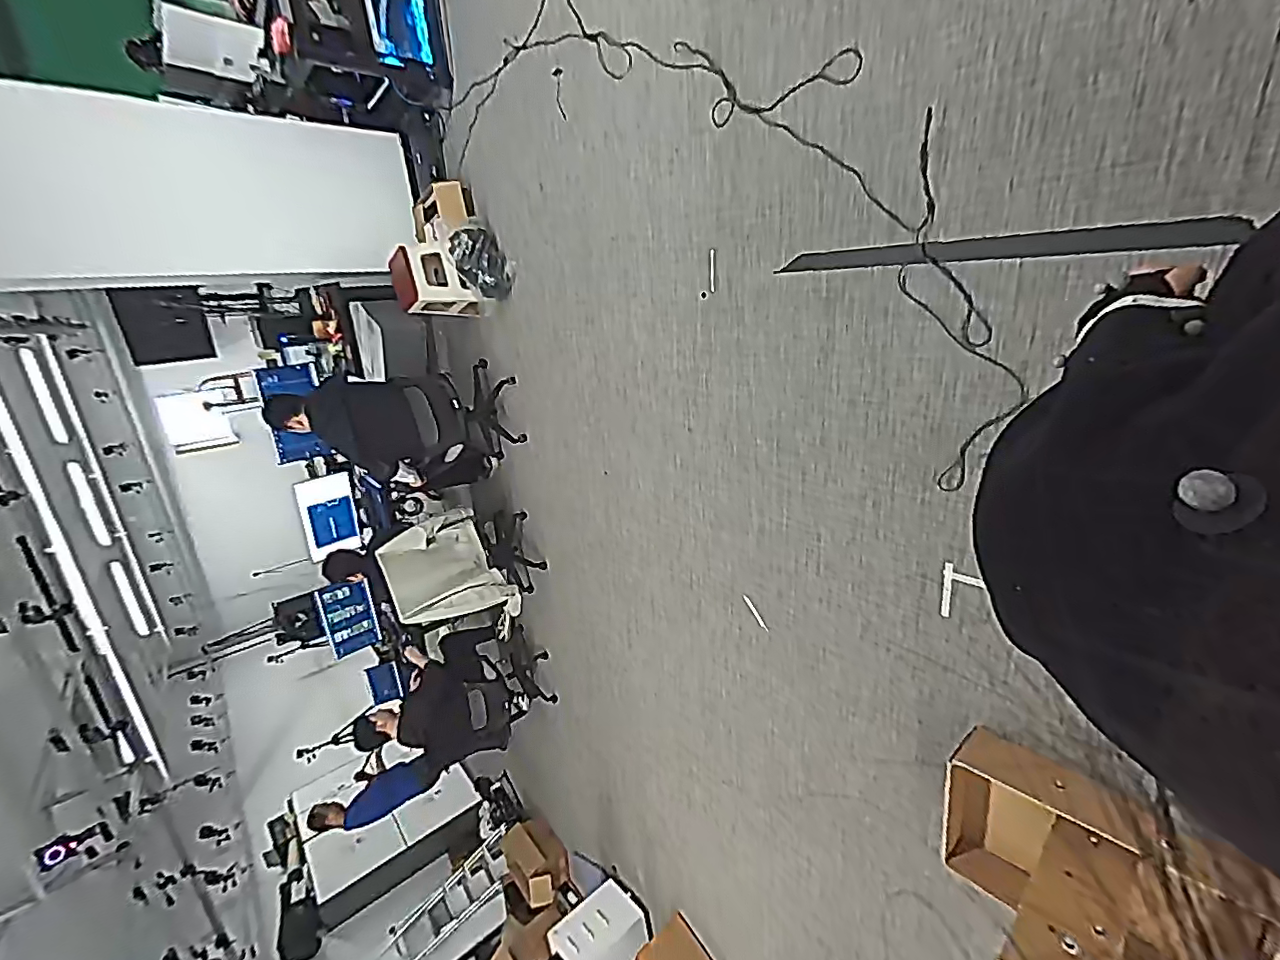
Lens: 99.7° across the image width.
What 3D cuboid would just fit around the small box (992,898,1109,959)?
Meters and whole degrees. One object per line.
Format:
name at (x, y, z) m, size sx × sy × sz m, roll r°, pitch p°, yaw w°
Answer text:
small box at (0.865, 1.057, 1.143) m, size 0.168 × 0.176 × 0.179 m, roll 9°, pitch 112°, yaw 49°

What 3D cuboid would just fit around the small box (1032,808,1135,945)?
small box at (1.106, 0.977, 1.348) m, size 0.168 × 0.176 × 0.179 m, roll 10°, pitch 113°, yaw 49°
